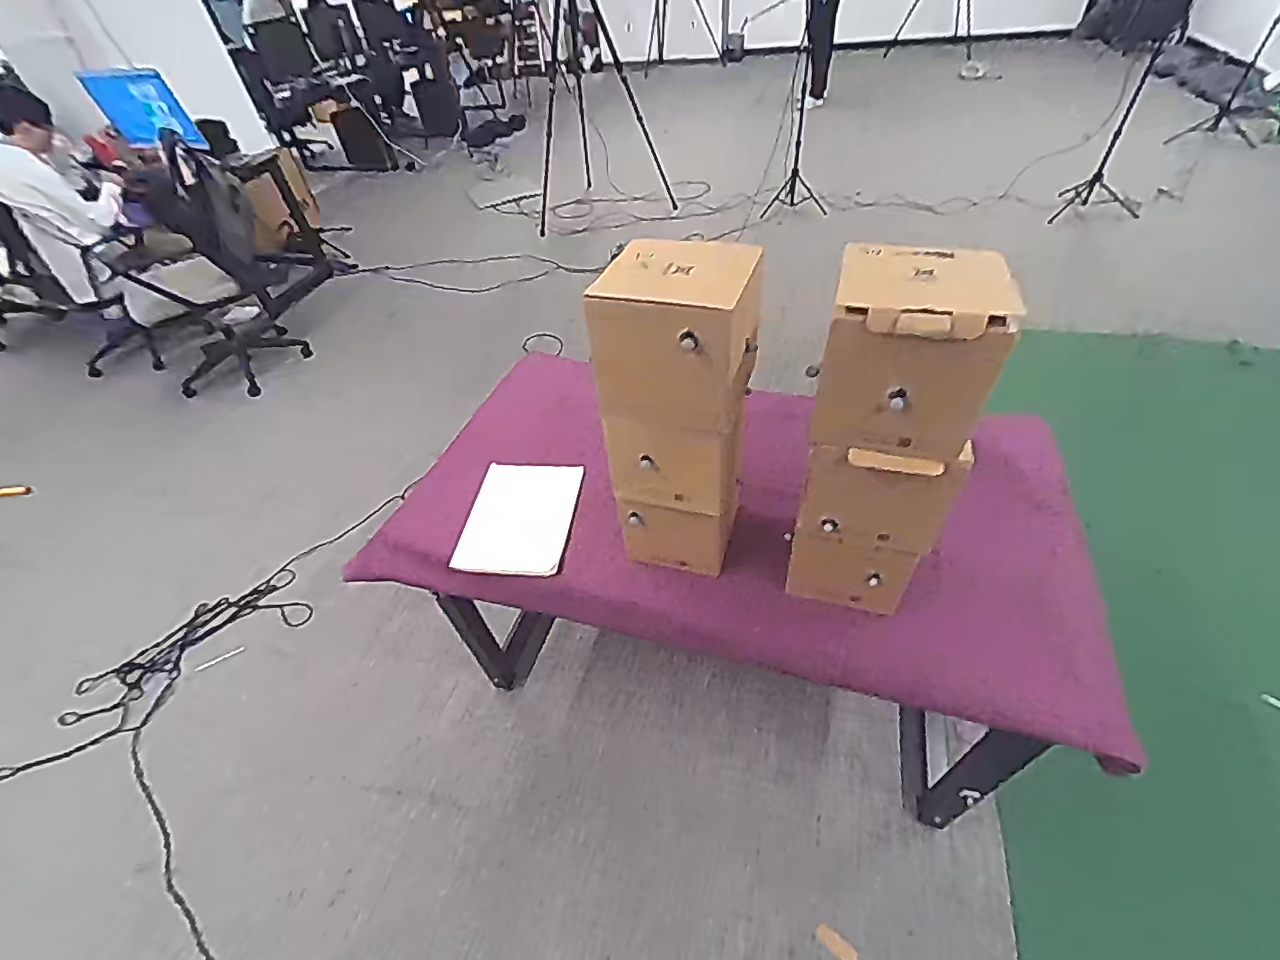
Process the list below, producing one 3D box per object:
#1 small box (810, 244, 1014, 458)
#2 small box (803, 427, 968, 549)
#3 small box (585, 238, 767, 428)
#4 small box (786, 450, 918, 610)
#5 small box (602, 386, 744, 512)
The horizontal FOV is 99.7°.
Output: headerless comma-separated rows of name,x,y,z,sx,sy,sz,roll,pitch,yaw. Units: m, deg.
small box,0.299,-0.149,0.625,0.168,0.176,0.179,12,49,15
small box,0.323,-0.030,0.738,0.168,0.176,0.179,10,46,14
small box,0.053,-0.186,0.687,0.179,0.176,0.168,12,47,18
small box,0.332,0.080,0.857,0.168,0.176,0.179,11,47,16
small box,0.060,-0.075,0.810,0.168,0.176,0.179,10,47,16
